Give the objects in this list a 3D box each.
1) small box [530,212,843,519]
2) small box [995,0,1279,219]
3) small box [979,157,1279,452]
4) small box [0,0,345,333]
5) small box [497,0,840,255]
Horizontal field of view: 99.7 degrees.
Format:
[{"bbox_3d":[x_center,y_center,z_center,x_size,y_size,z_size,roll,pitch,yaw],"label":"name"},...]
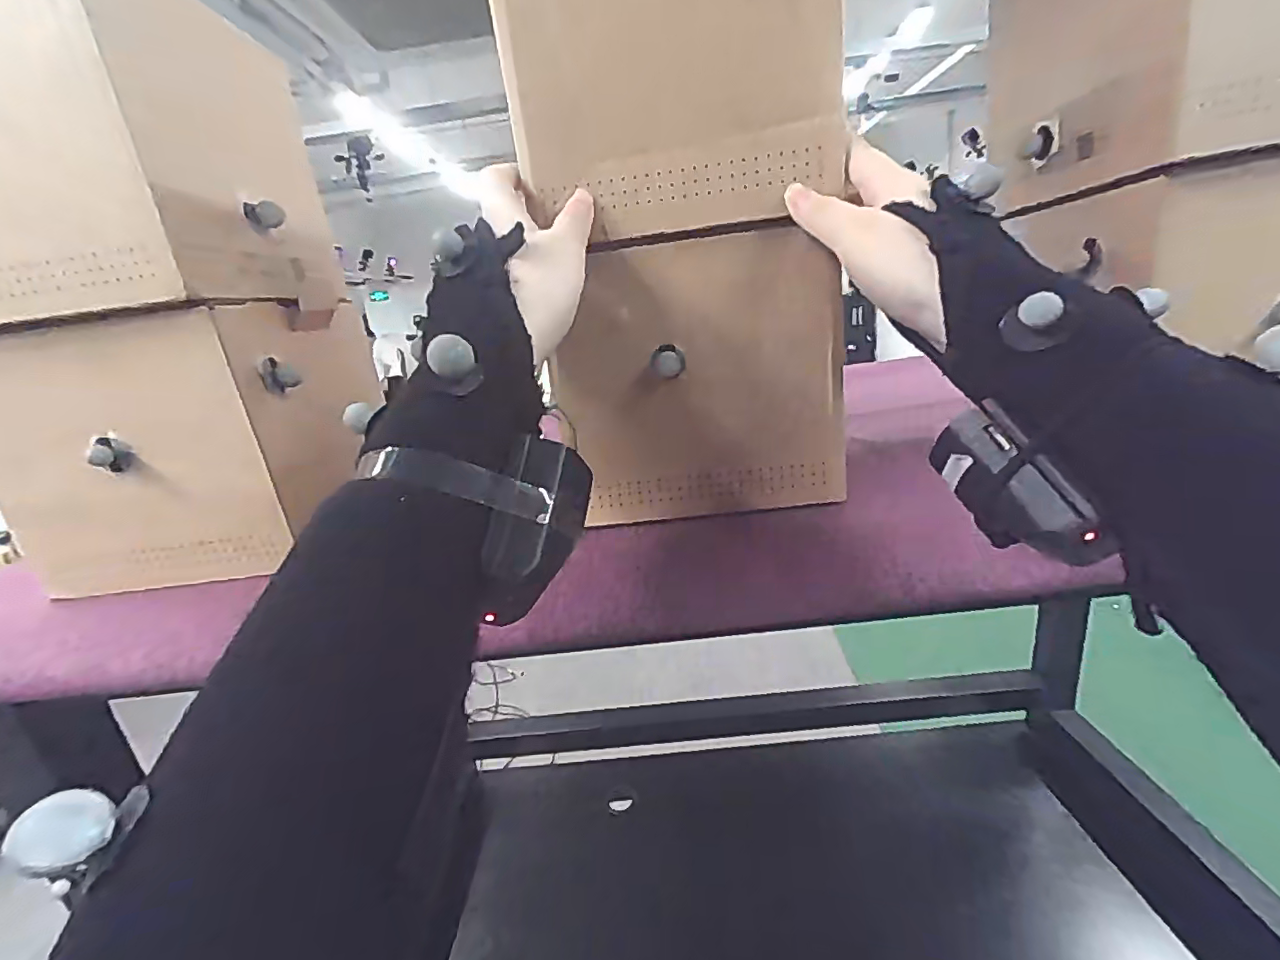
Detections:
[{"bbox_3d":[0.036,-0.078,0.396,0.179,0.176,0.168,-7,17,4],"label":"small box"},{"bbox_3d":[0.348,-0.270,0.328,0.179,0.176,0.168,-9,15,4],"label":"small box"},{"bbox_3d":[0.374,-0.121,0.387,0.168,0.176,0.179,-7,16,4],"label":"small box"},{"bbox_3d":[-0.326,-0.187,0.336,0.179,0.176,0.168,-6,19,2],"label":"small box"},{"bbox_3d":[0.020,-0.232,0.346,0.179,0.176,0.168,-4,17,6],"label":"small box"}]
